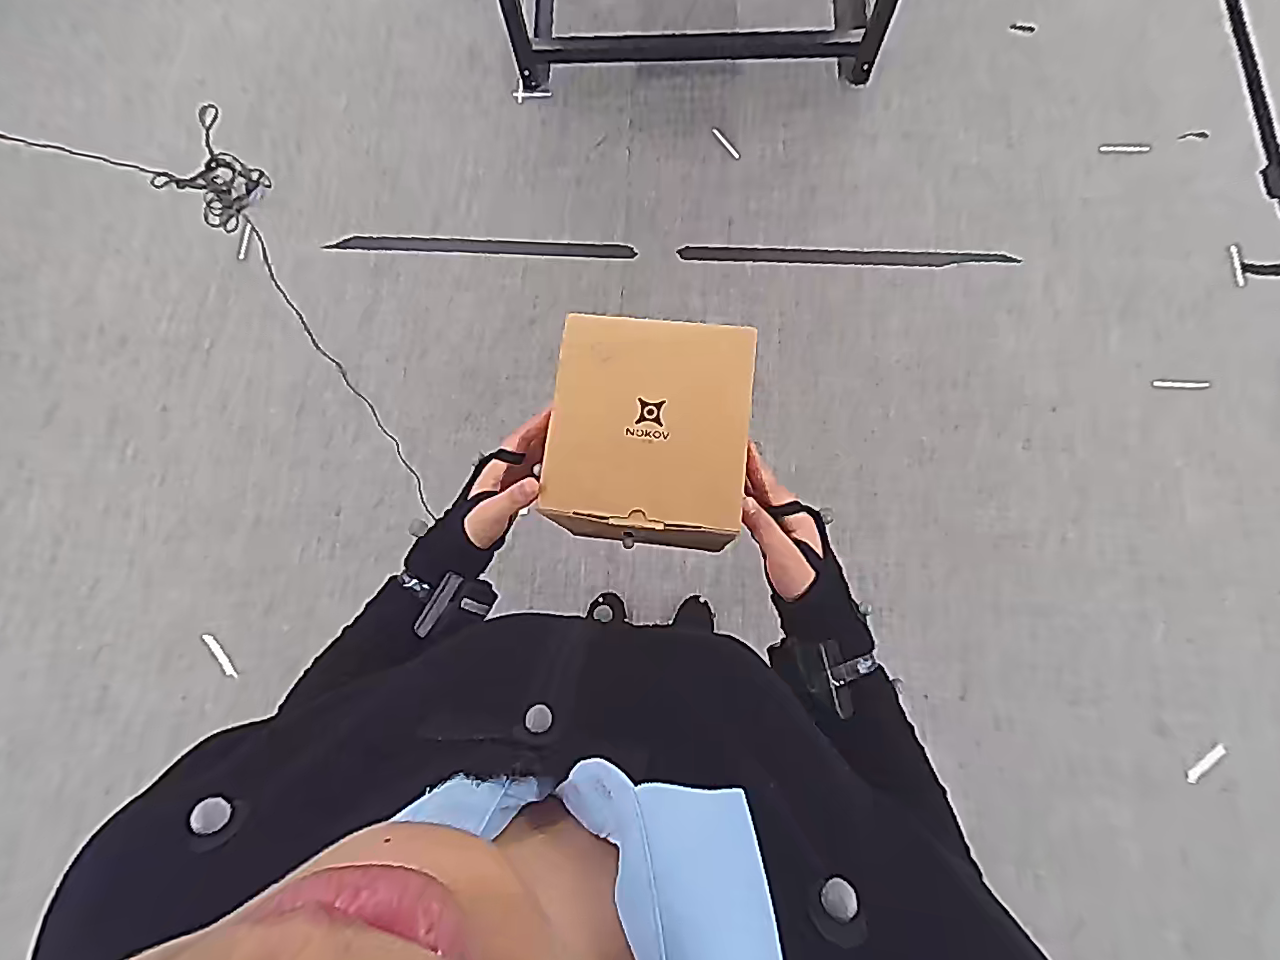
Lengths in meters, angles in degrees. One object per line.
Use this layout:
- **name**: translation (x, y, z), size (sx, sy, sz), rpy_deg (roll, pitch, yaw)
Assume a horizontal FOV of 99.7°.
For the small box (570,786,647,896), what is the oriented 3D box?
- **small box**: translation (-0.070, 0.853, 1.295), size (0.168, 0.176, 0.179), rpy_deg (0, 78, 3)
